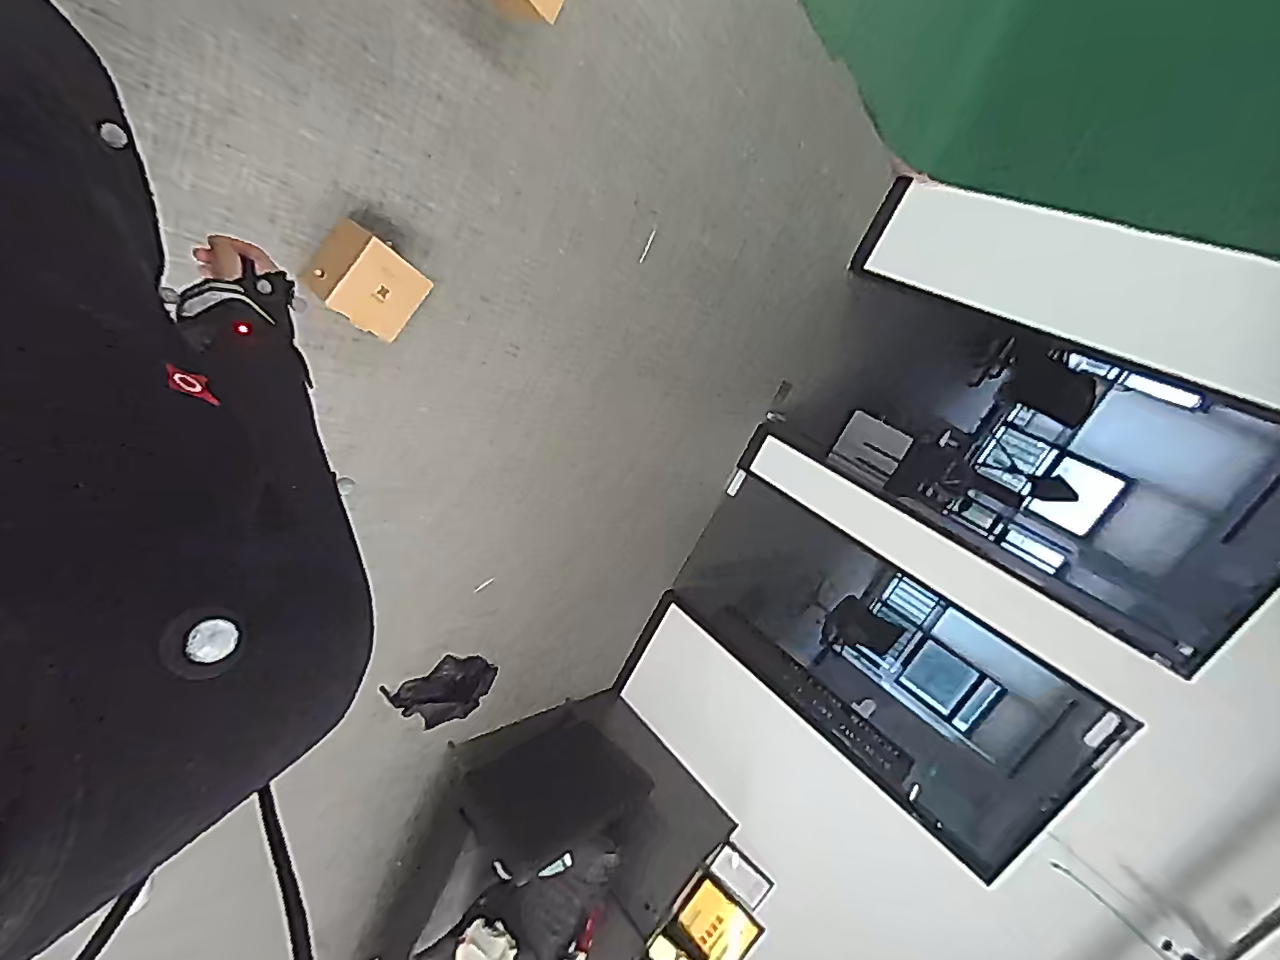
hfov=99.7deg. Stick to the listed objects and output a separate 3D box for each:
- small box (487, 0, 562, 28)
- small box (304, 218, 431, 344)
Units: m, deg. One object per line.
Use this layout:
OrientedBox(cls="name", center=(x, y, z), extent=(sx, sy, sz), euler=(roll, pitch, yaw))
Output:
OrientedBox(cls="small box", center=(-0.248, -1.050, 1.068), extent=(0.179, 0.176, 0.168), euler=(12, 111, -54))
OrientedBox(cls="small box", center=(-0.611, -0.443, 1.202), extent=(0.179, 0.176, 0.168), euler=(-54, 149, 1))
